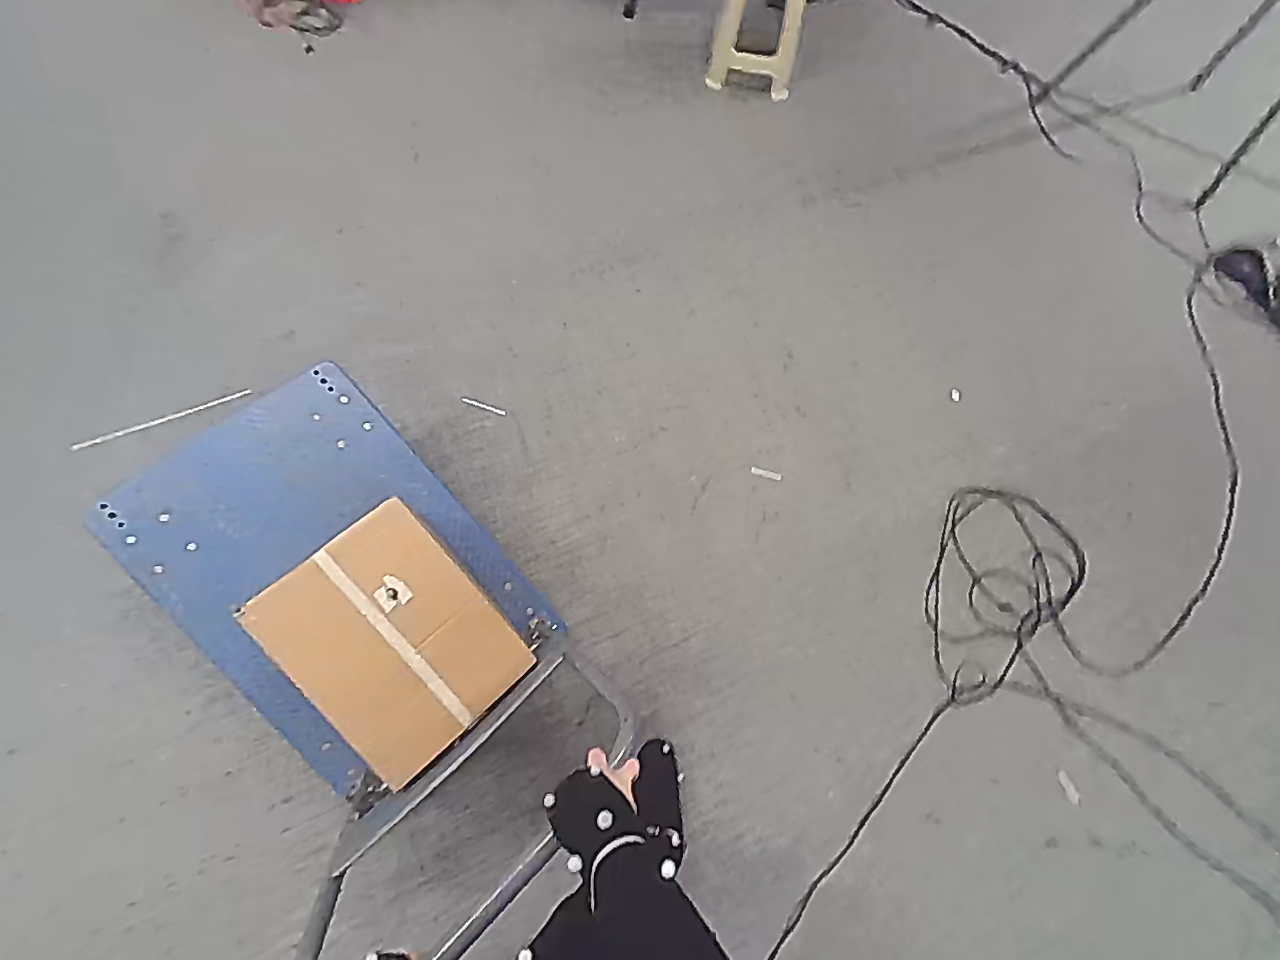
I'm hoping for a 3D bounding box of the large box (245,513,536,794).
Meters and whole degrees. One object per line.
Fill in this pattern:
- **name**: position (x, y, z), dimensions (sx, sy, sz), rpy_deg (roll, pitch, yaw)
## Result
- **large box**: position (-0.468, 0.325, 1.104), dimensions (0.320, 0.320, 0.408), rpy_deg (-41, 93, -19)
